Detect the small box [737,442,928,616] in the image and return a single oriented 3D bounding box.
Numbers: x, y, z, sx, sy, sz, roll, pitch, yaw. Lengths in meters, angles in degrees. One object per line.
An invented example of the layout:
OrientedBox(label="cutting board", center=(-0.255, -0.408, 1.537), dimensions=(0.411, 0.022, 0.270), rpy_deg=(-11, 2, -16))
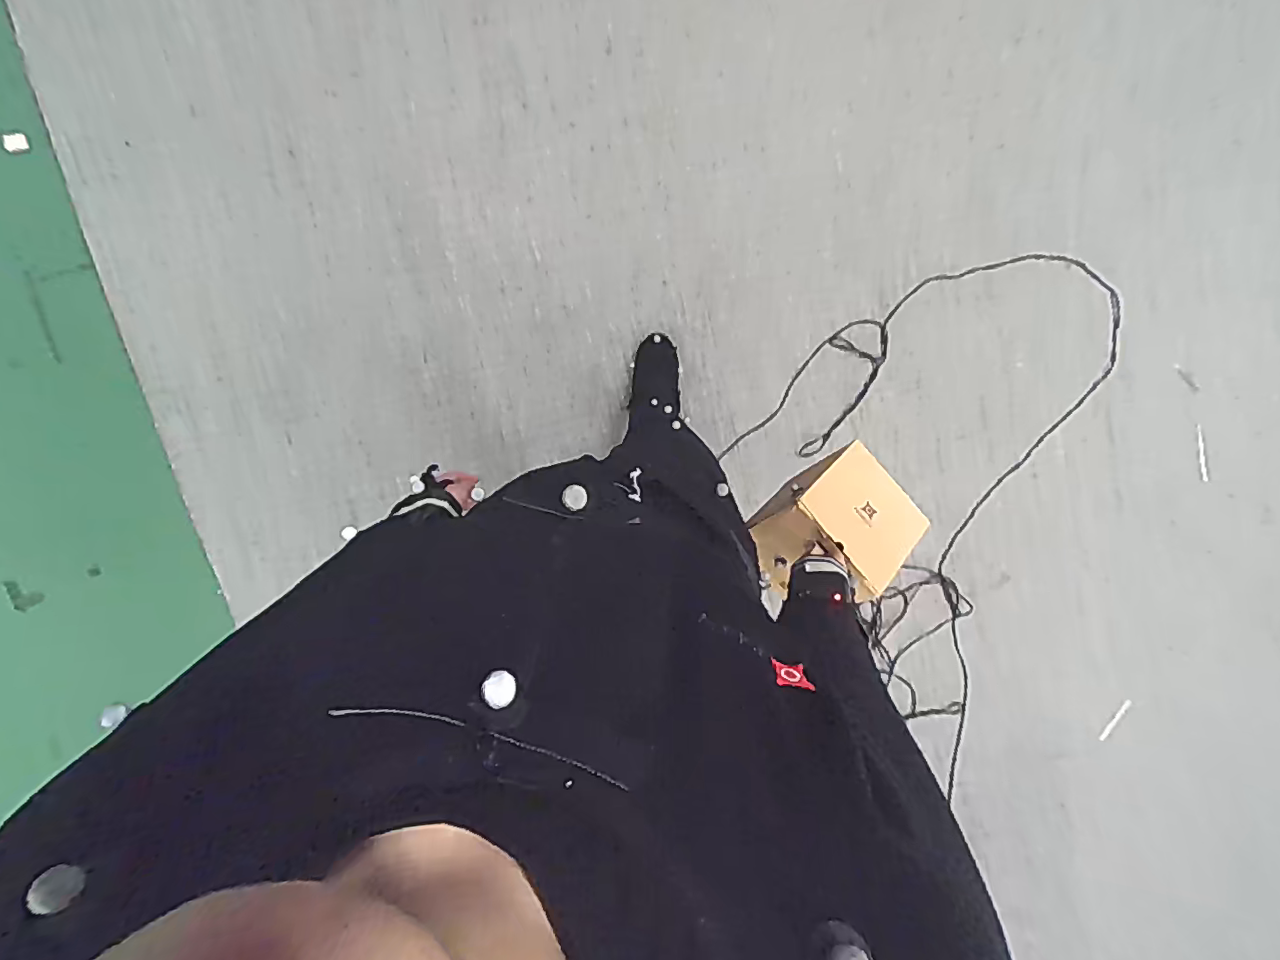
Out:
OrientedBox(label="small box", center=(0.278, 0.078, 0.805), dimensions=(0.179, 0.176, 0.168), rpy_deg=(-38, 87, -33))
